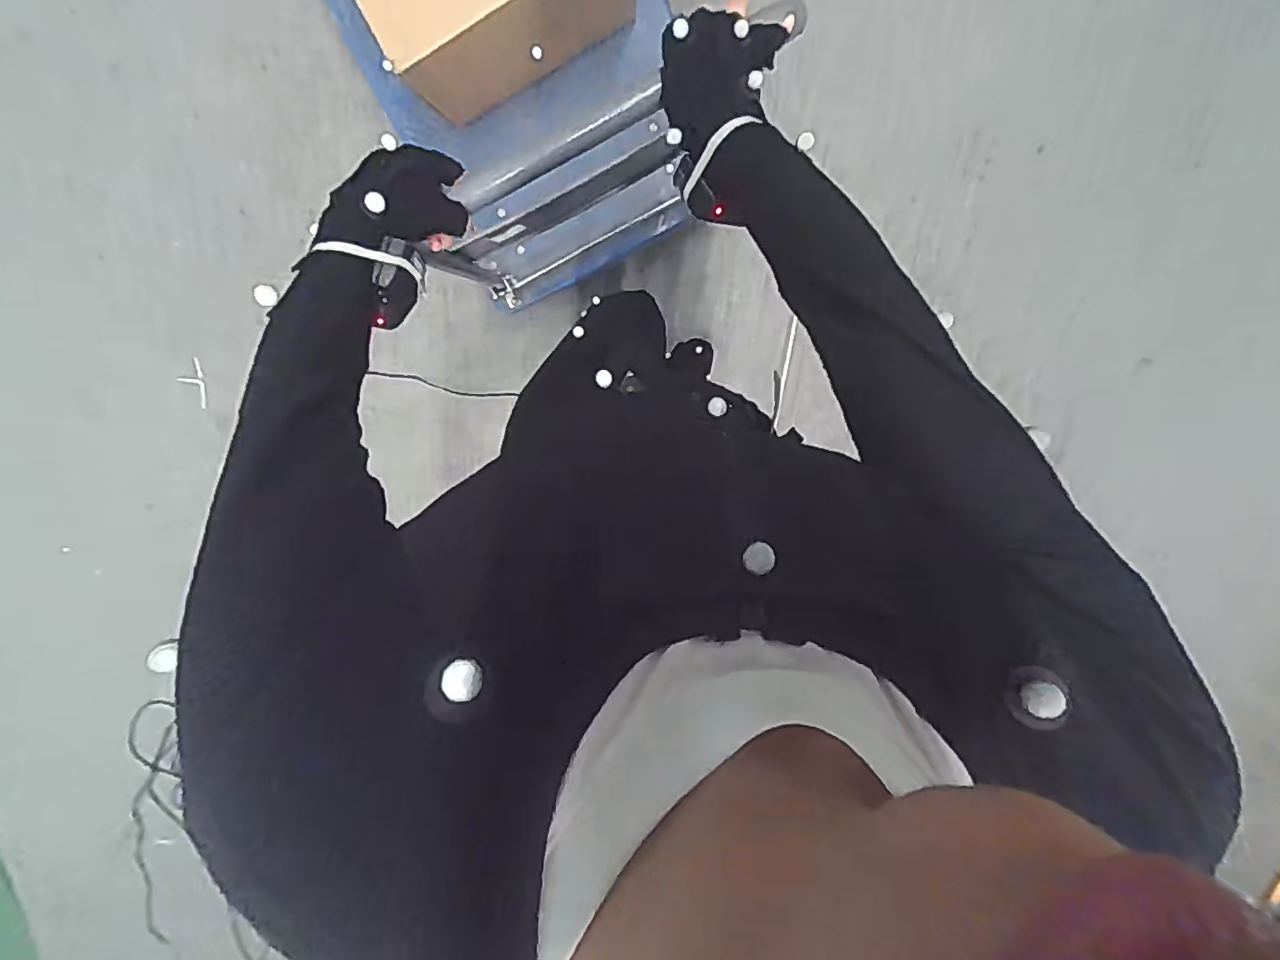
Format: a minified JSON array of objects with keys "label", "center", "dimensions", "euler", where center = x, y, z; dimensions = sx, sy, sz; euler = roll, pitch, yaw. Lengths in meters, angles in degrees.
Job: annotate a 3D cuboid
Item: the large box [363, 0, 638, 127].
[{"label":"large box","center":[-0.244,-0.865,0.871],"dimensions":[0.408,0.320,0.320],"euler":[-26,108,9]}]
